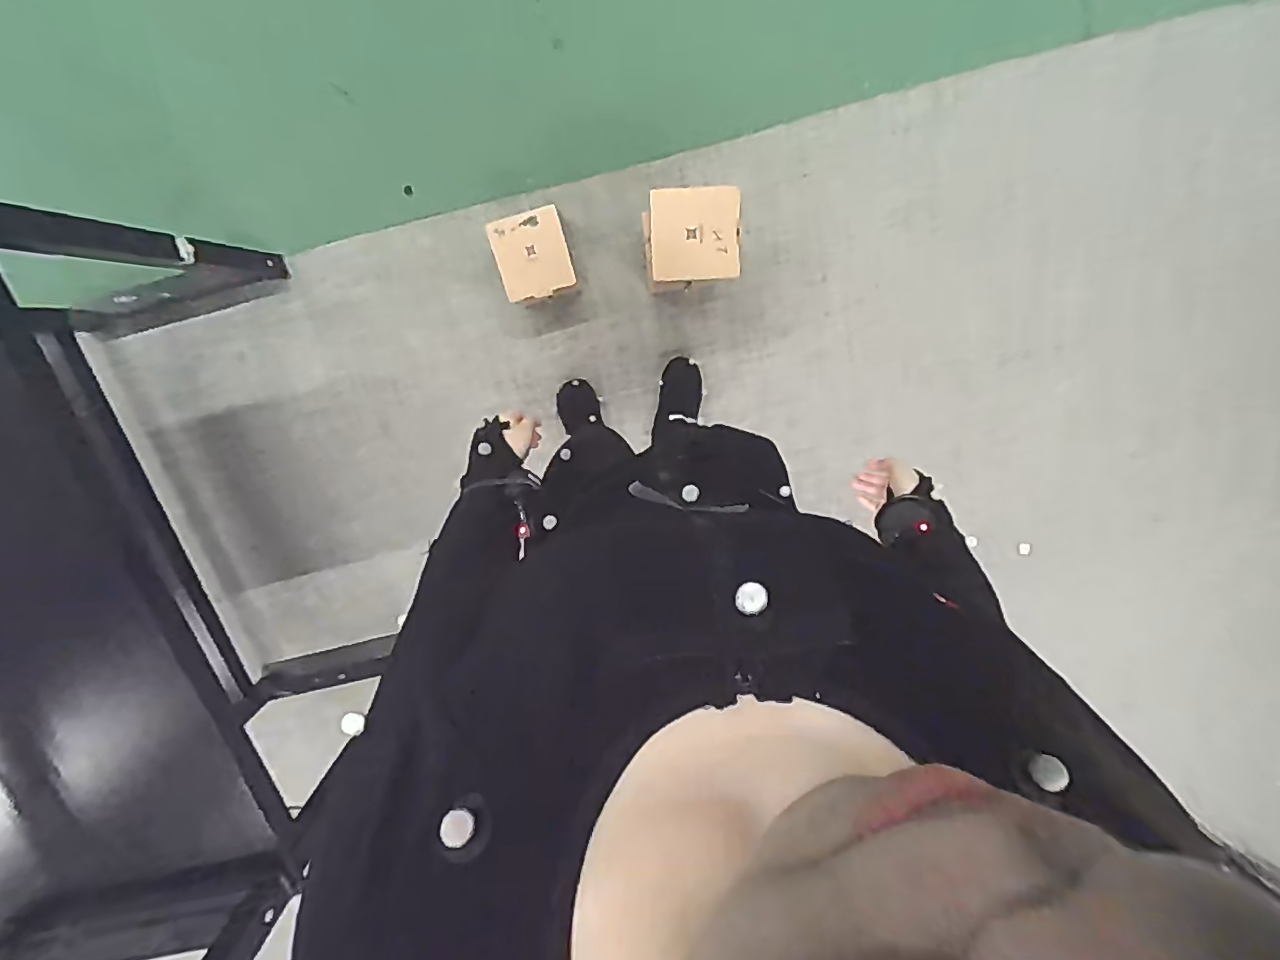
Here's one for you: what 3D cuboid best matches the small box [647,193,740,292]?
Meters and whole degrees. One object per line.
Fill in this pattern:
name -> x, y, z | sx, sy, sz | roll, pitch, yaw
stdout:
small box -> 0.105, -0.479, 1.111 | 0.179, 0.176, 0.168 | -2, 106, 0

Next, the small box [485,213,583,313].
small box -> -0.241, -0.502, 1.276 | 0.168, 0.176, 0.179 | -15, 104, 4
